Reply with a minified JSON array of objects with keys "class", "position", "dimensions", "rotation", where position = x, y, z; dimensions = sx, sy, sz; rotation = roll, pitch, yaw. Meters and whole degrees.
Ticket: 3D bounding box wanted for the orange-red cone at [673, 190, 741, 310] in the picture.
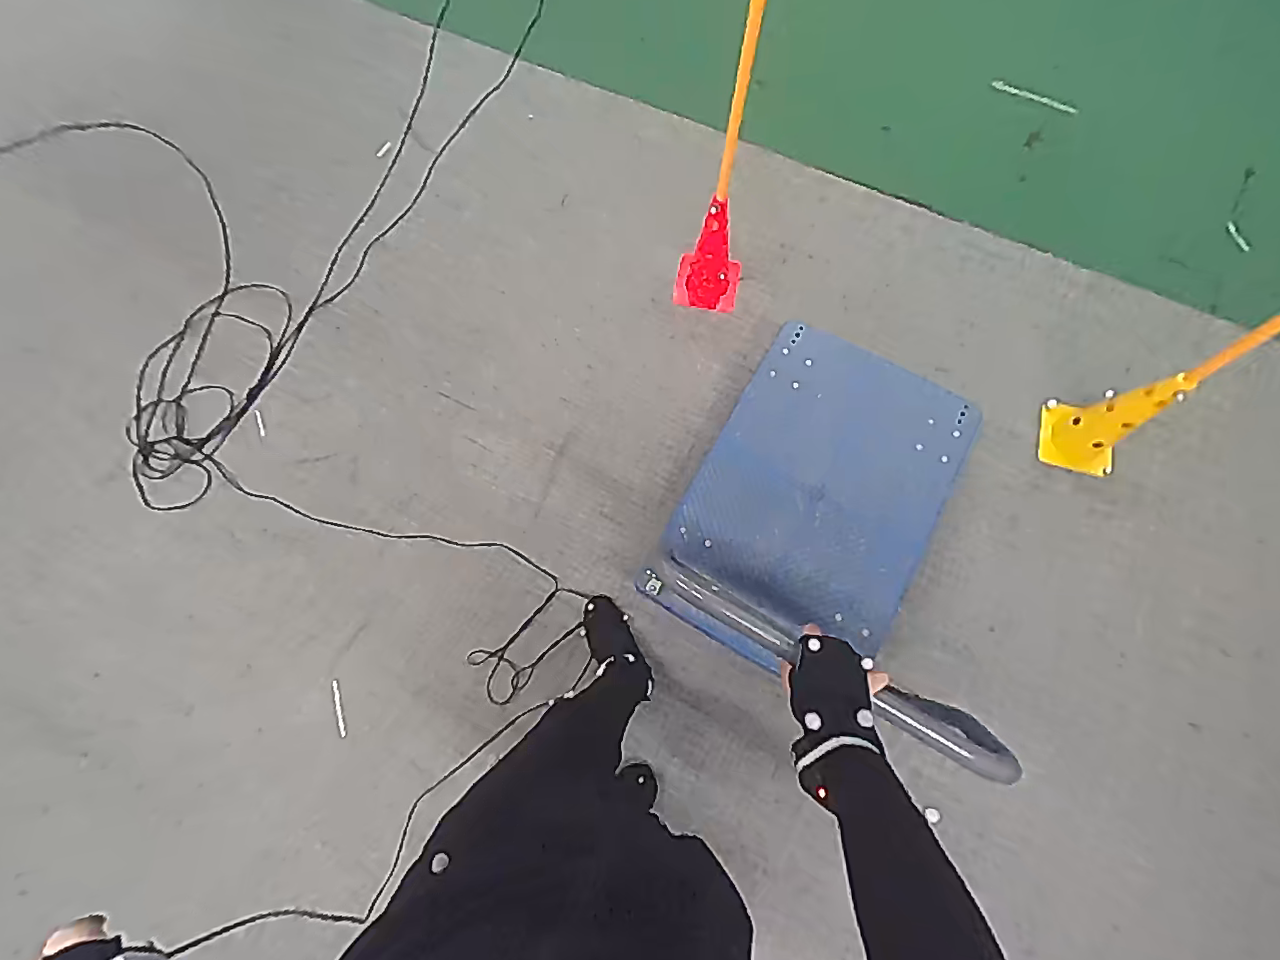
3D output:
[{"class":"orange-red cone","position":[0.210,-0.694,1.585],"dimensions":[0.199,0.360,0.198],"rotation":[12,73,6]}]
